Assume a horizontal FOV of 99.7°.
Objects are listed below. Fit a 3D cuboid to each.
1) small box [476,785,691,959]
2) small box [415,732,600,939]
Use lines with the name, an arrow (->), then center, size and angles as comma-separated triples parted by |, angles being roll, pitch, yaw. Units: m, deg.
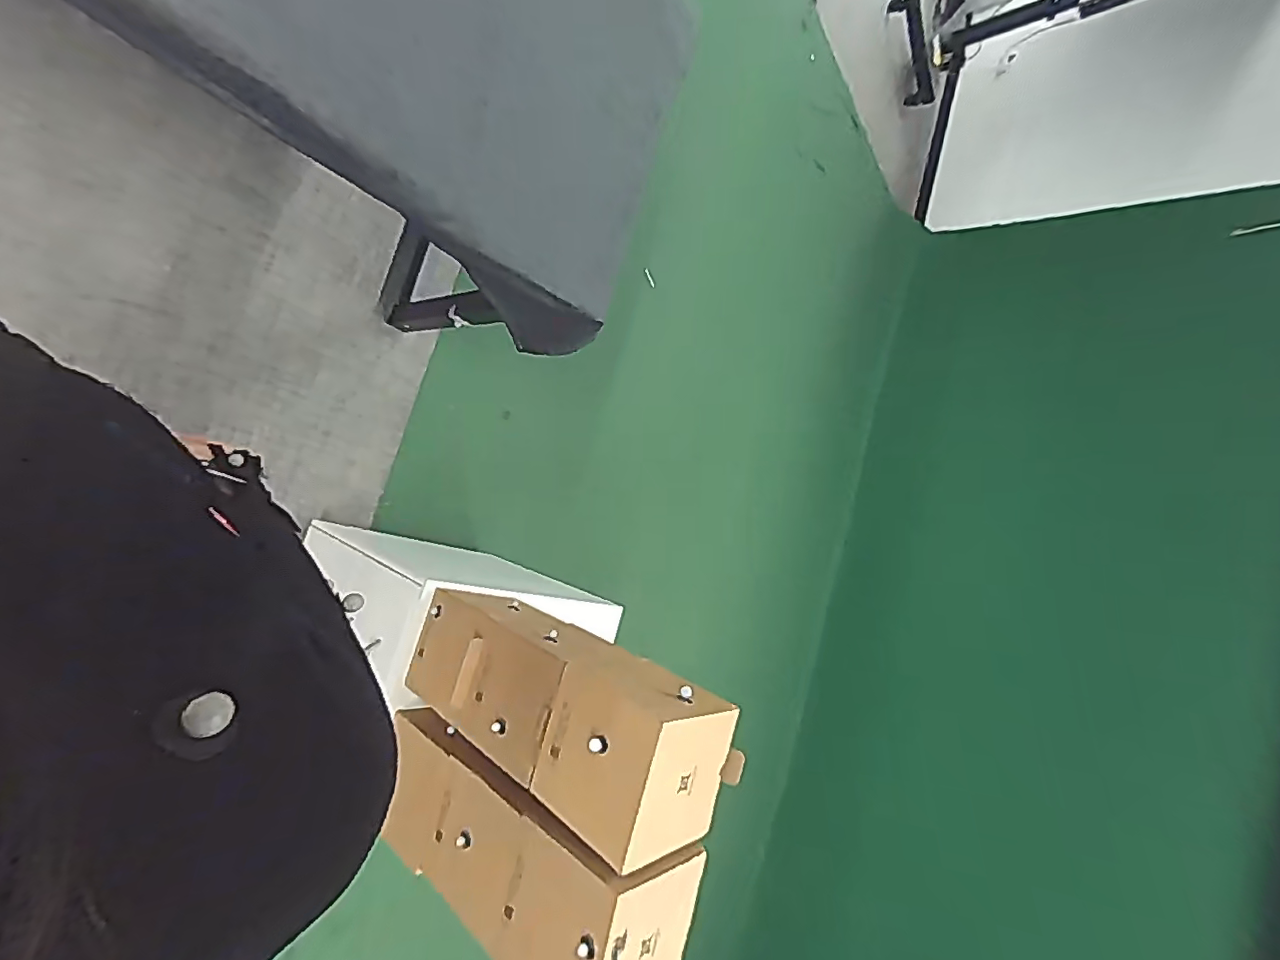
small box -> -0.067, 0.509, 0.670 | 0.179, 0.176, 0.168 | 22, 81, -51
small box -> -0.191, 0.487, 0.774 | 0.179, 0.176, 0.168 | 18, 84, -50
